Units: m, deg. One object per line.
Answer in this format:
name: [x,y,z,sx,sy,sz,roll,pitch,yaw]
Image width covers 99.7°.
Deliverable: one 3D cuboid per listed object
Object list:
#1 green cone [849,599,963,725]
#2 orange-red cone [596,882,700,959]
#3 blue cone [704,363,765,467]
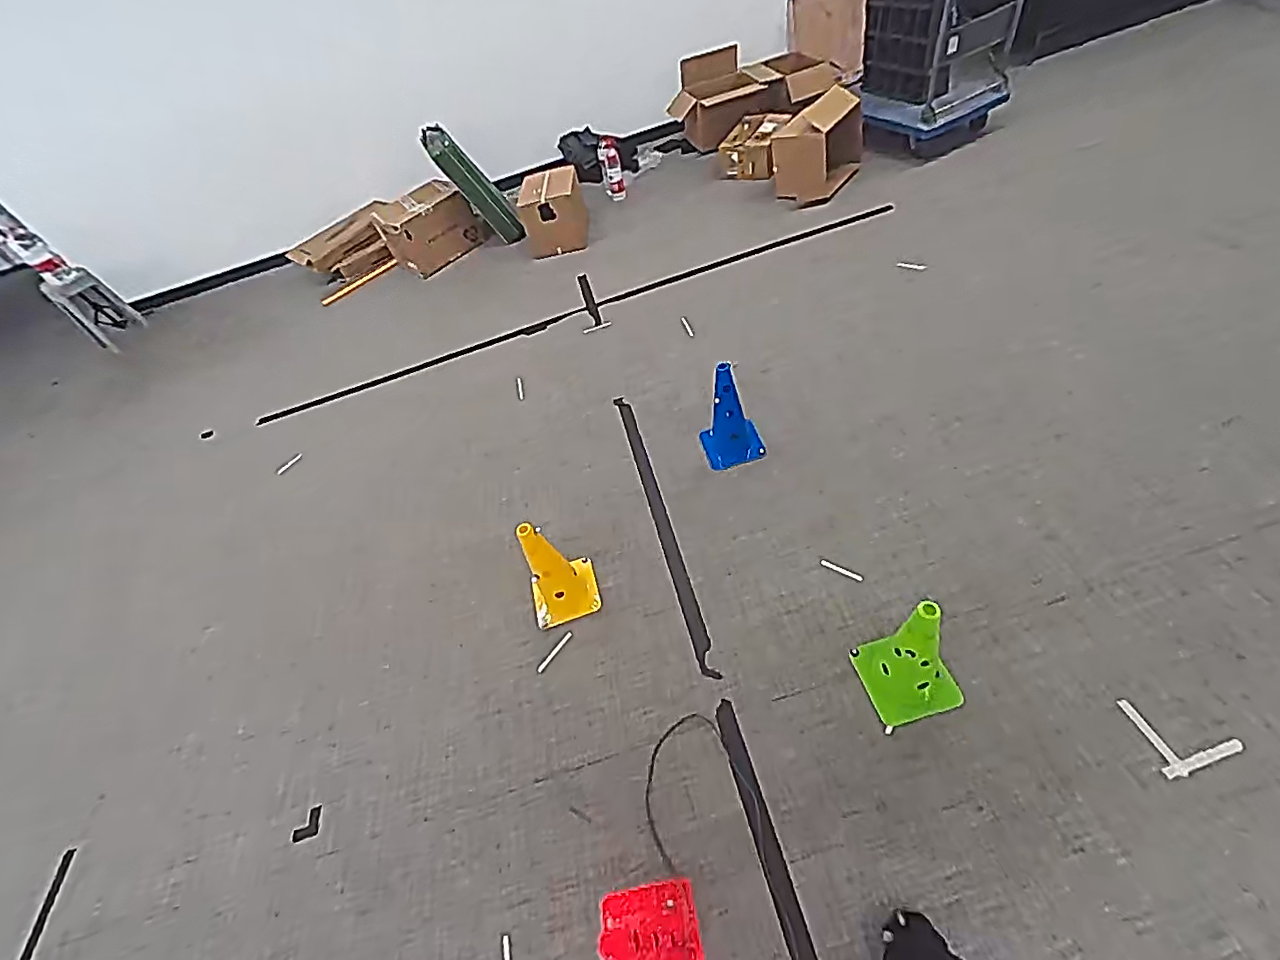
green cone: [0.612,0.370,1.196,0.202,0.368,0.200,-17,48,0]
orange-red cone: [-0.015,0.842,0.977,0.199,0.360,0.198,-16,47,4]
blue cone: [0.301,-0.232,1.817,0.192,0.380,0.193,-15,48,2]
